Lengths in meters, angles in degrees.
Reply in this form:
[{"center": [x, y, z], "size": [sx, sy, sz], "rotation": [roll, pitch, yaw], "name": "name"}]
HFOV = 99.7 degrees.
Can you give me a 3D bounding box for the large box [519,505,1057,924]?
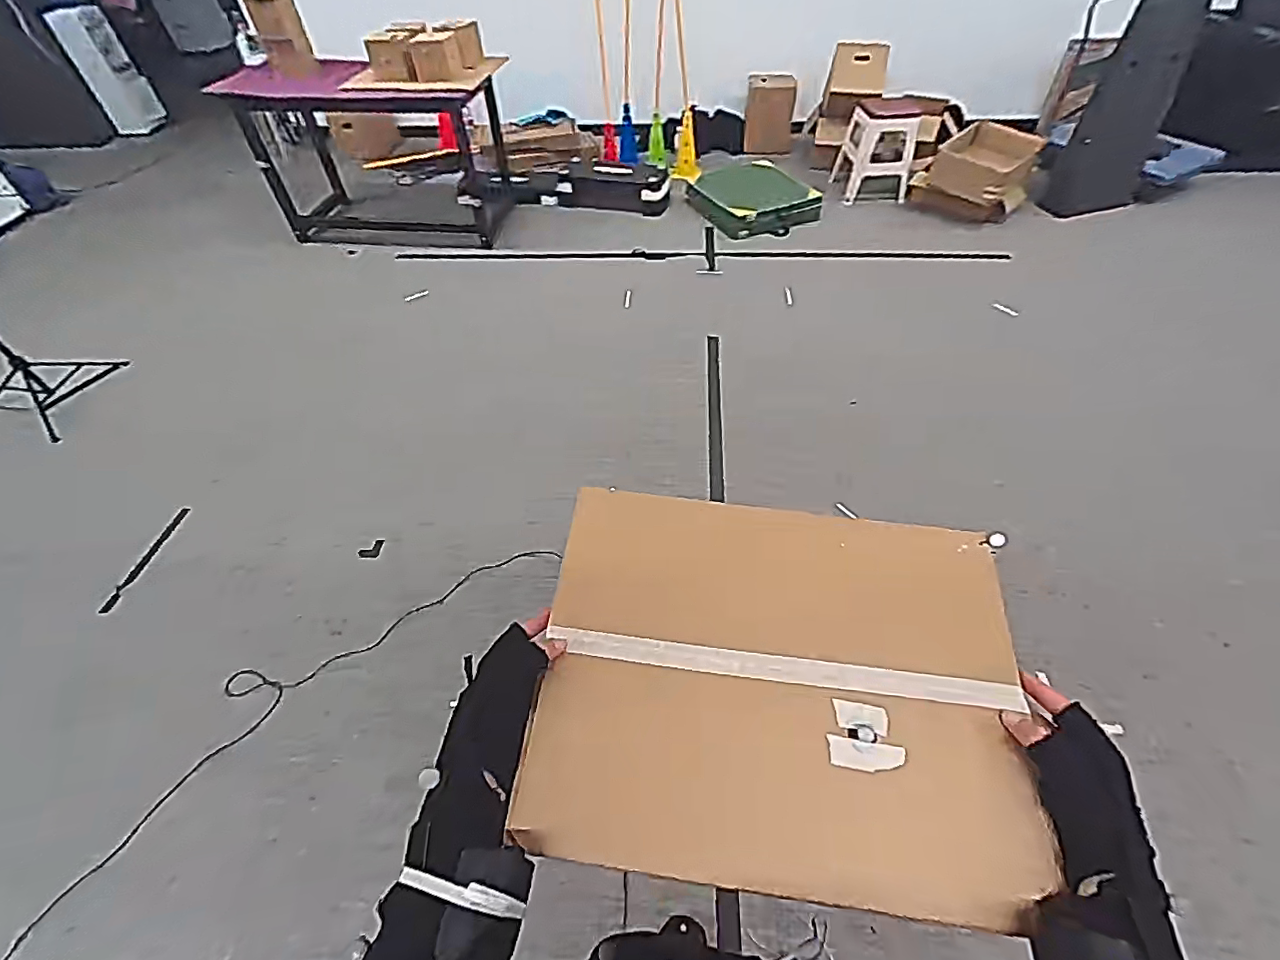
[{"center": [0.117, 0.249, 0.600], "size": [0.408, 0.320, 0.320], "rotation": [6, 59, 4], "name": "large box"}]
